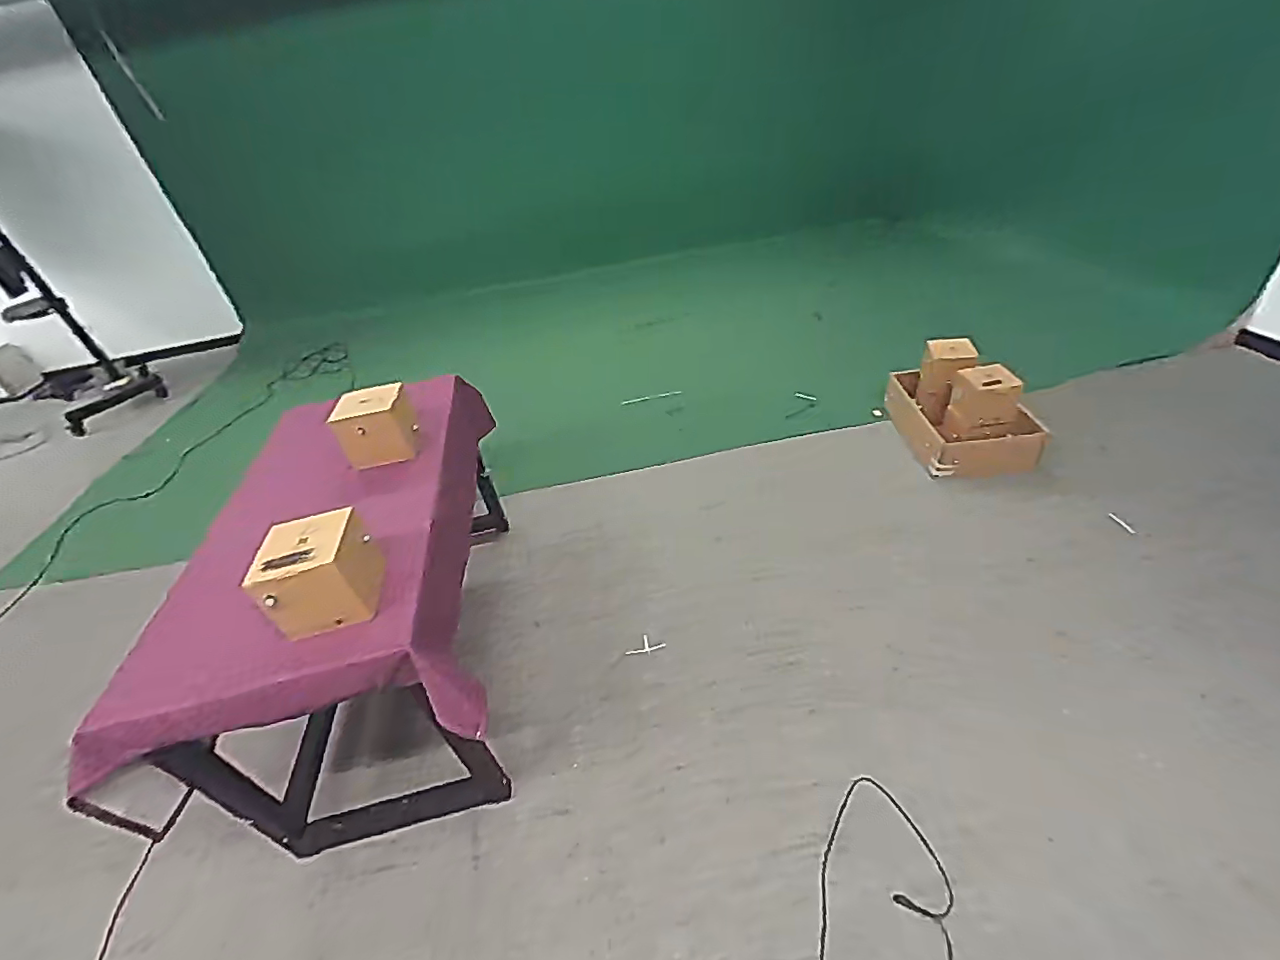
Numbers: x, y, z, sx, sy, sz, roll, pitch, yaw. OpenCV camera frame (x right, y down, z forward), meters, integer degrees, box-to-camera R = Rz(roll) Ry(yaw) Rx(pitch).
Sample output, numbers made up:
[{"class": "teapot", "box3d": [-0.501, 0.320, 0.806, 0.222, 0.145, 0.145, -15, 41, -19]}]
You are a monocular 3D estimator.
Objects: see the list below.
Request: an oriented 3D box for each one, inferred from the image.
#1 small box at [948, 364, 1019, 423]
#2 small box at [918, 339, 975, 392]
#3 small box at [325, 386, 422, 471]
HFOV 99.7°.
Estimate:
[{"class": "small box", "box3d": [1.358, -0.337, 2.150, 0.168, 0.176, 0.179, -8, 36, 5]}, {"class": "small box", "box3d": [1.331, -0.501, 2.365, 0.168, 0.176, 0.179, 0, 41, 13]}, {"class": "small box", "box3d": [-0.757, -0.144, 1.554, 0.179, 0.176, 0.168, -12, 38, -2]}]
